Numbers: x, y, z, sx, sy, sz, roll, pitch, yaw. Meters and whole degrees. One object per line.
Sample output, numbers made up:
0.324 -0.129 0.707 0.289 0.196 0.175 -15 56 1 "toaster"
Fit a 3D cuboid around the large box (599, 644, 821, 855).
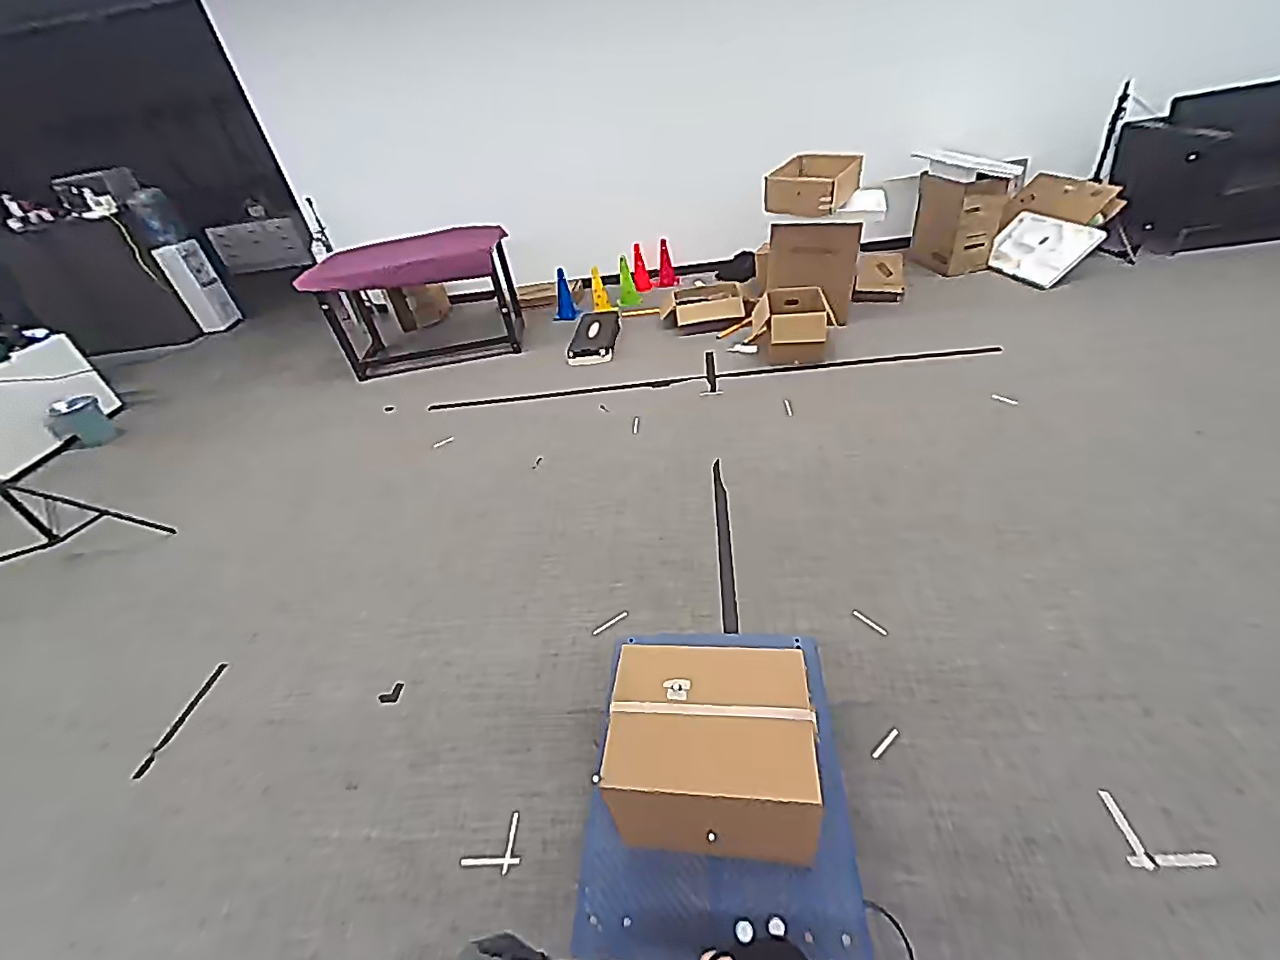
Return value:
0.157 0.578 1.173 0.408 0.320 0.320 -3 37 11 "large box"
